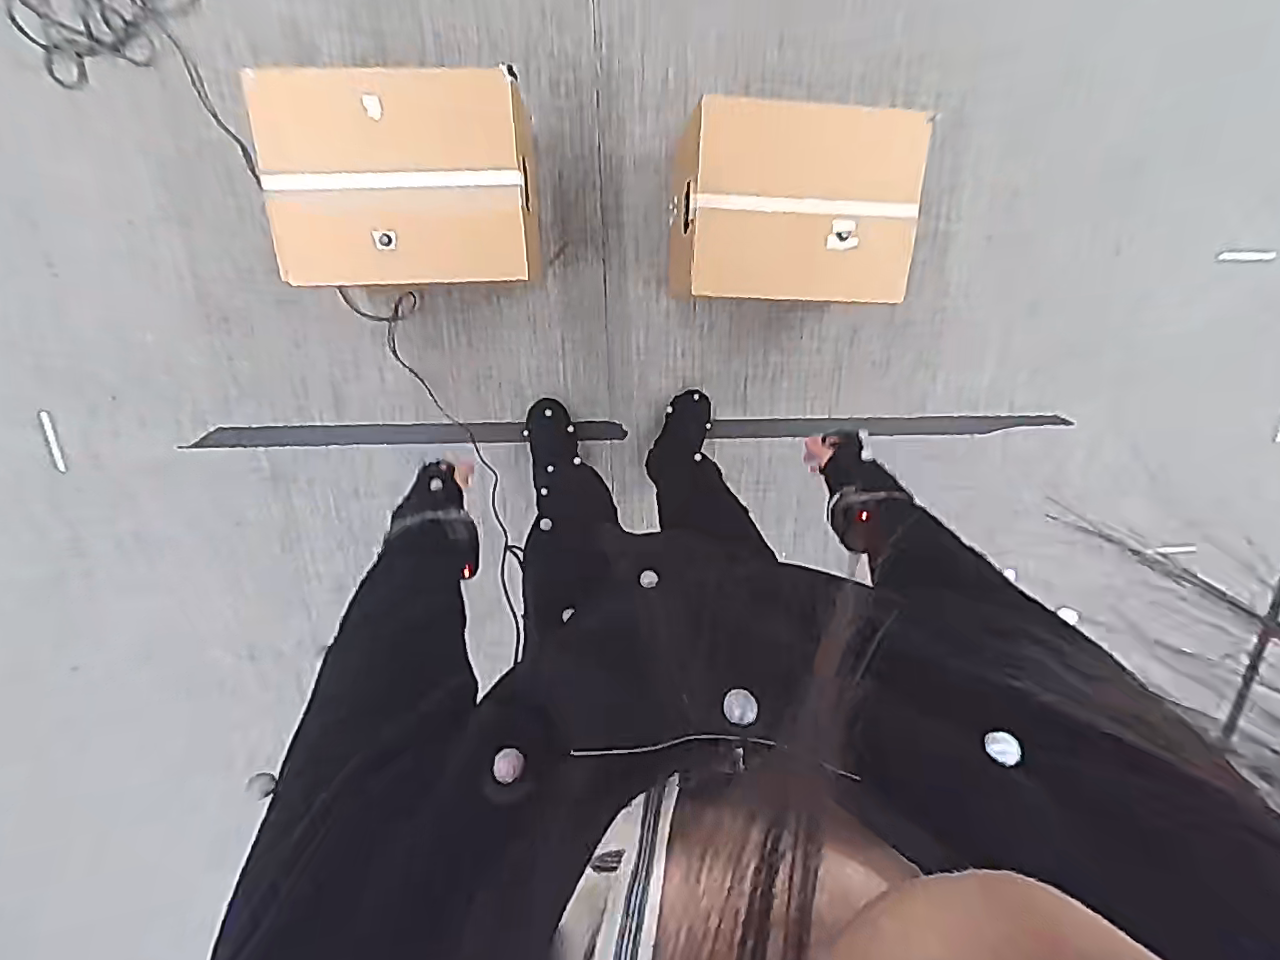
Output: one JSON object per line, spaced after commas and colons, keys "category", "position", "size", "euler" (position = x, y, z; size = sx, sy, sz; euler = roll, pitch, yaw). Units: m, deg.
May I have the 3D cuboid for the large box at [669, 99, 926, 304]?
{"category": "large box", "position": [0.280, -0.528, 1.098], "size": [0.408, 0.320, 0.320], "euler": [0, 108, -6]}
